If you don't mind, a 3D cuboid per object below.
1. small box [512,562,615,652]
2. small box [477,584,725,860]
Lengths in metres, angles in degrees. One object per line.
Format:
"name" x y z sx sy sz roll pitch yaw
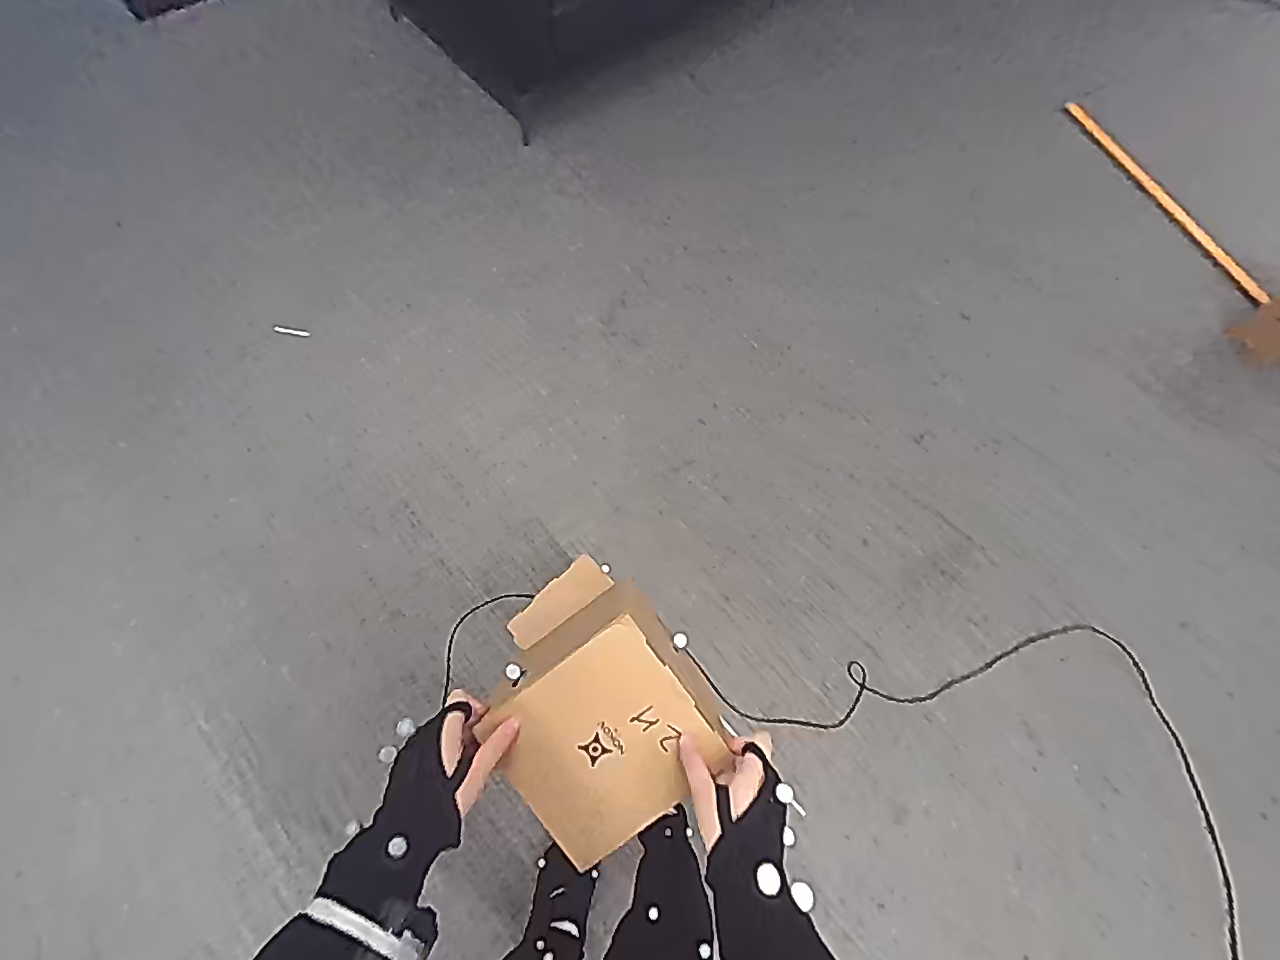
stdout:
"small box" -0.084 0.268 0.907 0.179 0.176 0.168 43 72 14
"small box" -0.036 0.237 0.577 0.179 0.176 0.168 -37 92 0
